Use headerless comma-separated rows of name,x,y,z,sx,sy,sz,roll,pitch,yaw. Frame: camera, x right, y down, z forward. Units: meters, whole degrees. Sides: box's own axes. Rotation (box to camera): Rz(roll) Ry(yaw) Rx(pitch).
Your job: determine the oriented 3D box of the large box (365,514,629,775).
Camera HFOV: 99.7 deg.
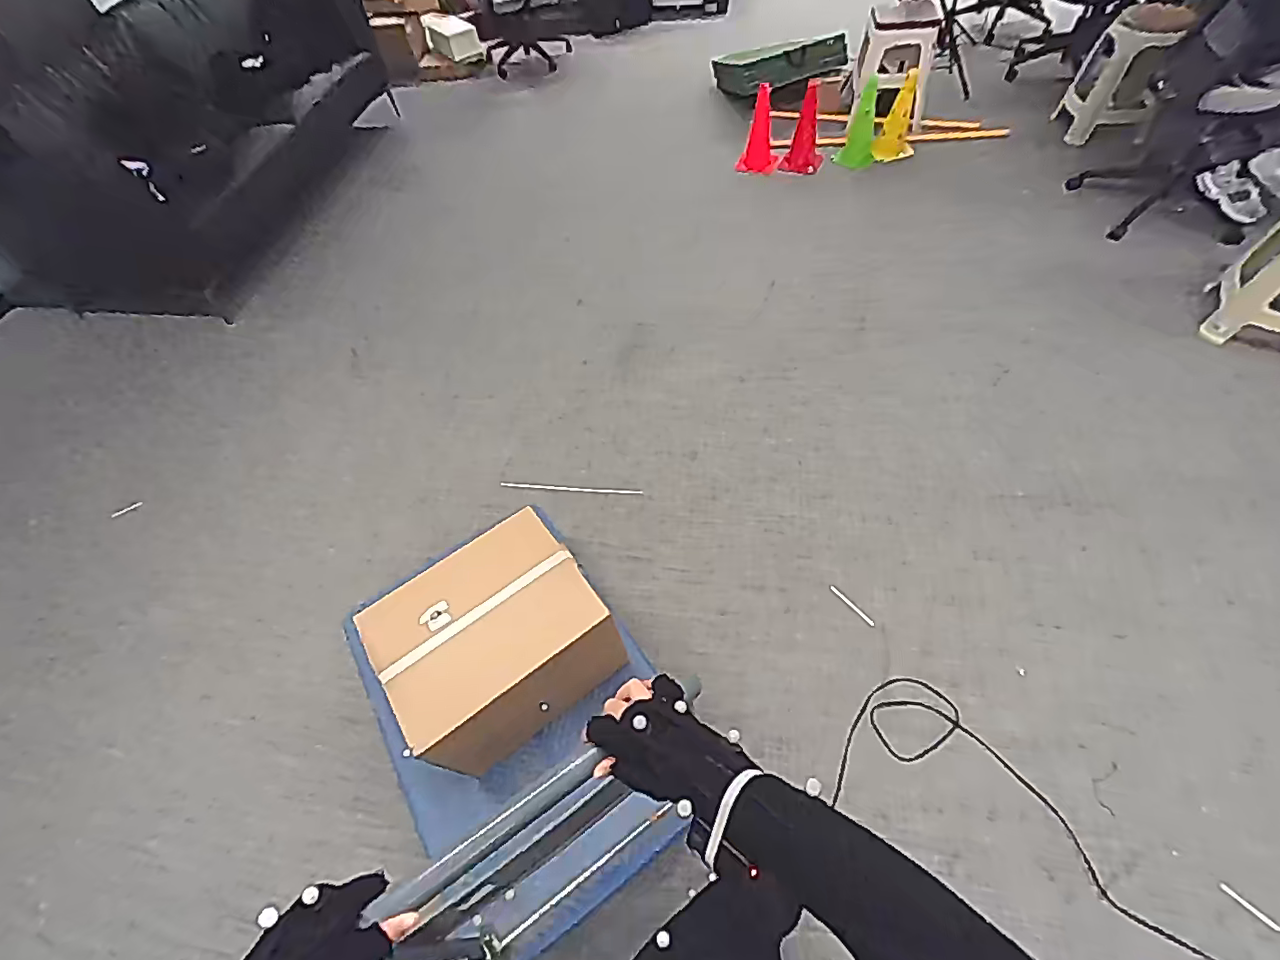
large box,-0.283,0.355,1.167,0.408,0.320,0.320,-35,57,-15
